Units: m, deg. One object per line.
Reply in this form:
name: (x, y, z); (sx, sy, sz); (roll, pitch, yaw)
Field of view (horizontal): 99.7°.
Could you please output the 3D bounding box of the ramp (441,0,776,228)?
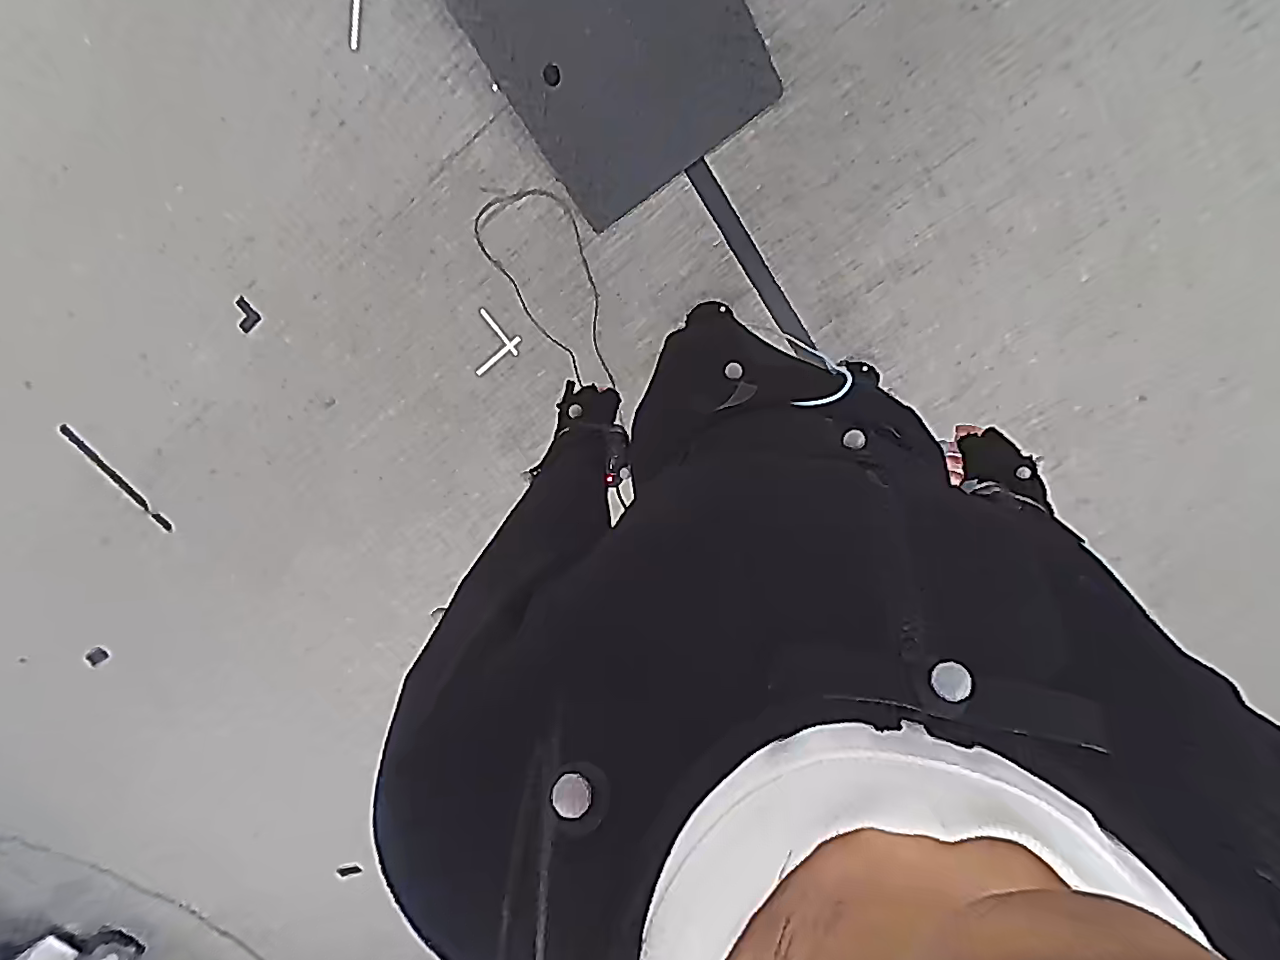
ramp: (-0.185, -1.050, 0.975); (0.509, 0.206, 0.991); (-33, 107, 15)
